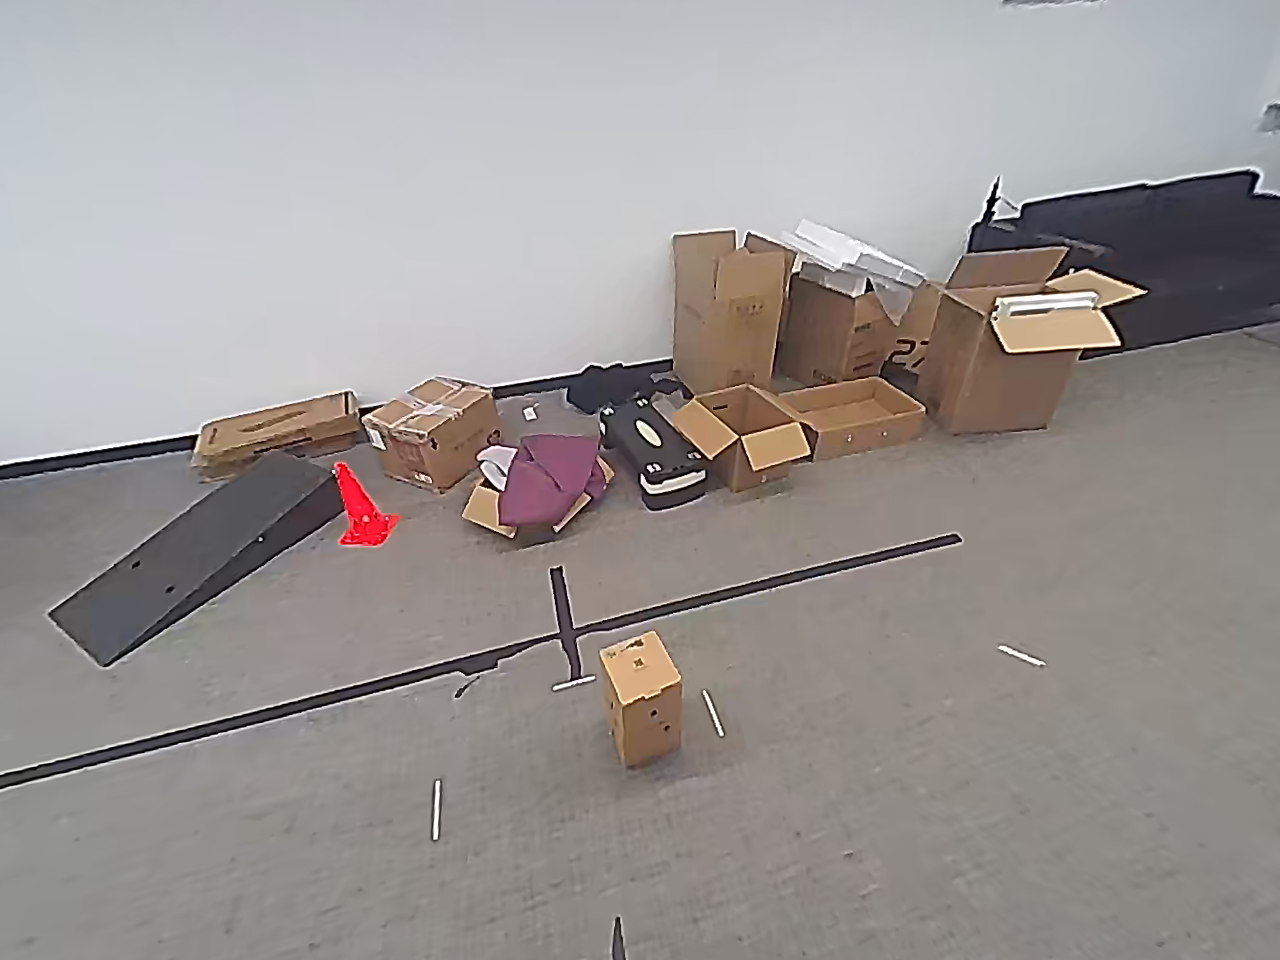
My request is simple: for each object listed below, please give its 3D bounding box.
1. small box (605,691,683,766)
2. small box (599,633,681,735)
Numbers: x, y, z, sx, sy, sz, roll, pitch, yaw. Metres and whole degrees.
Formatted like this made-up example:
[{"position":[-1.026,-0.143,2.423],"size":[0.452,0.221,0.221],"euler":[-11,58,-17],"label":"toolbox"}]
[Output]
[{"position":[0.009,0.674,1.538],"size":[0.179,0.176,0.168],"euler":[-15,38,-16],"label":"small box"},{"position":[0.002,0.547,1.434],"size":[0.168,0.176,0.179],"euler":[-16,39,-17],"label":"small box"}]
